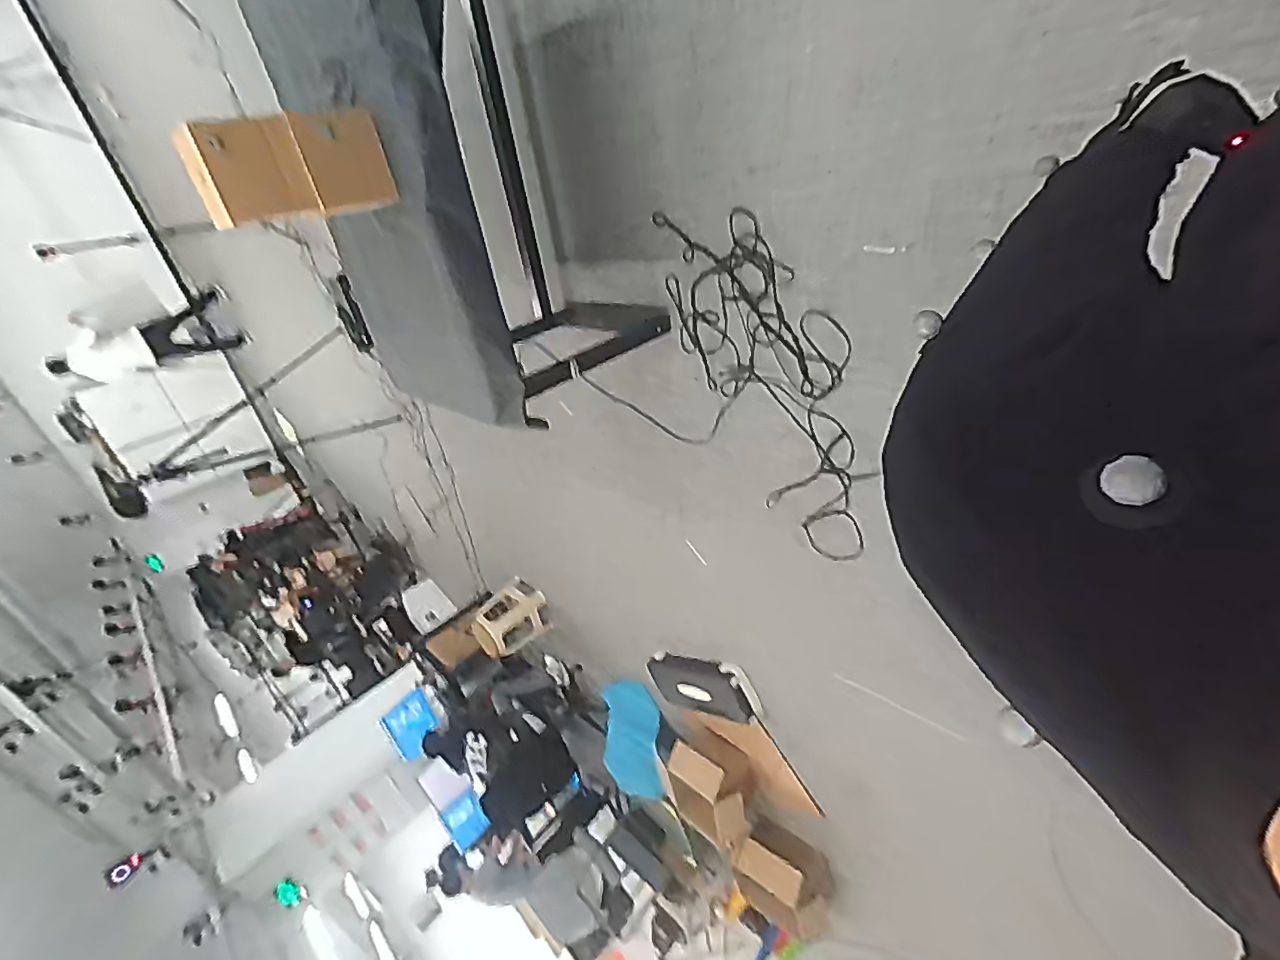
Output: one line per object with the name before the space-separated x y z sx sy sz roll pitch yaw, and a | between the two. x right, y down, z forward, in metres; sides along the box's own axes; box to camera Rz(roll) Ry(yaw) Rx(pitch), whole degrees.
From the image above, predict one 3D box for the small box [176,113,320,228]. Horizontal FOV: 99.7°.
small box | -0.780 -0.619 1.088 0.168 0.176 0.179 20 130 41
